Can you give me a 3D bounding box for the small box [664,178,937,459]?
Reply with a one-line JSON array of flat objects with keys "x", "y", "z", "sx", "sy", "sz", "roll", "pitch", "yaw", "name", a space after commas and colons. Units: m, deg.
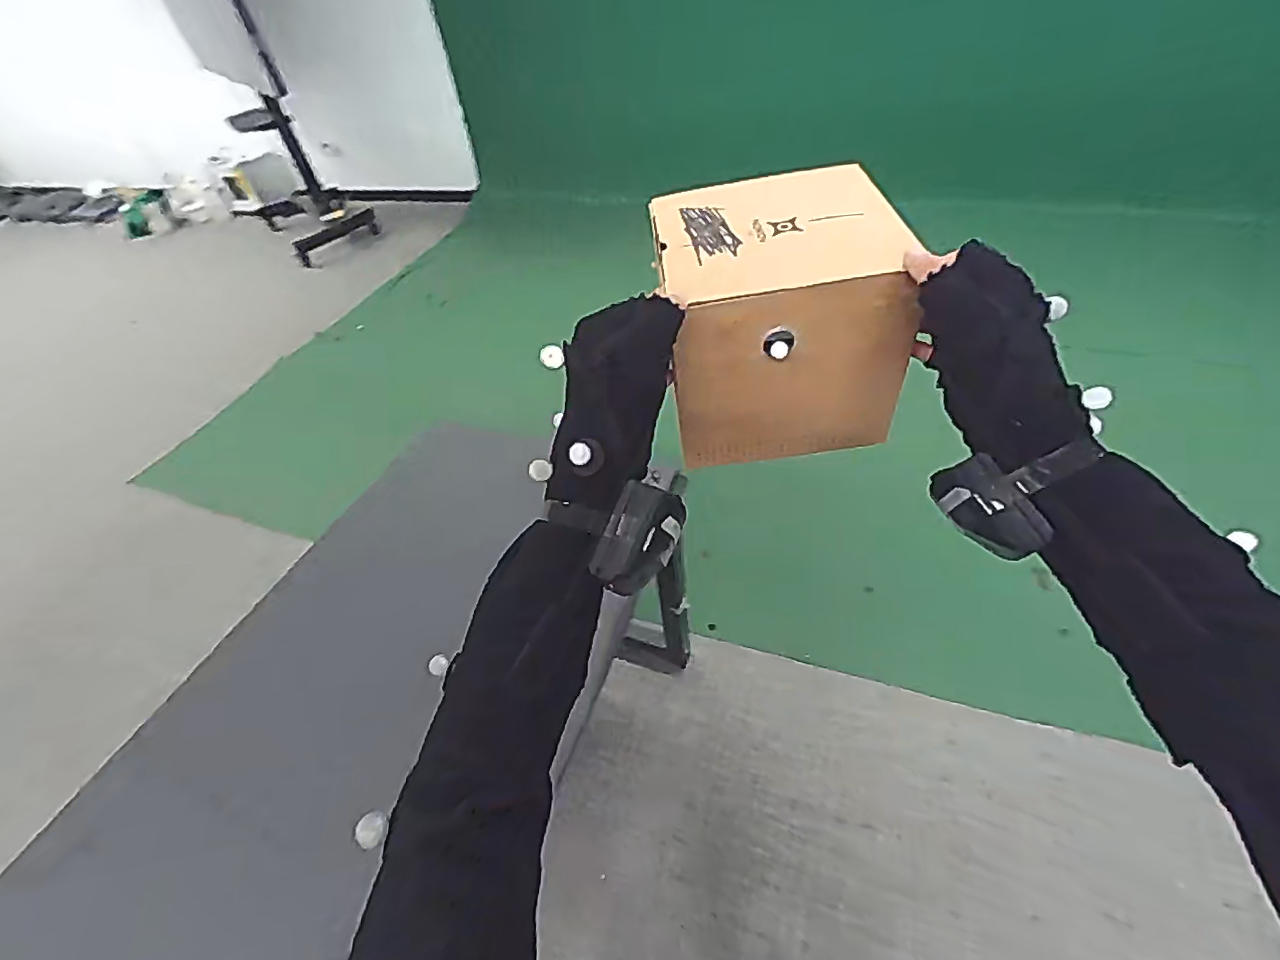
[{"x": 0.120, "y": -0.134, "z": 0.474, "sx": 0.179, "sy": 0.176, "sz": 0.168, "roll": -7, "pitch": 49, "yaw": 4, "name": "small box"}]
